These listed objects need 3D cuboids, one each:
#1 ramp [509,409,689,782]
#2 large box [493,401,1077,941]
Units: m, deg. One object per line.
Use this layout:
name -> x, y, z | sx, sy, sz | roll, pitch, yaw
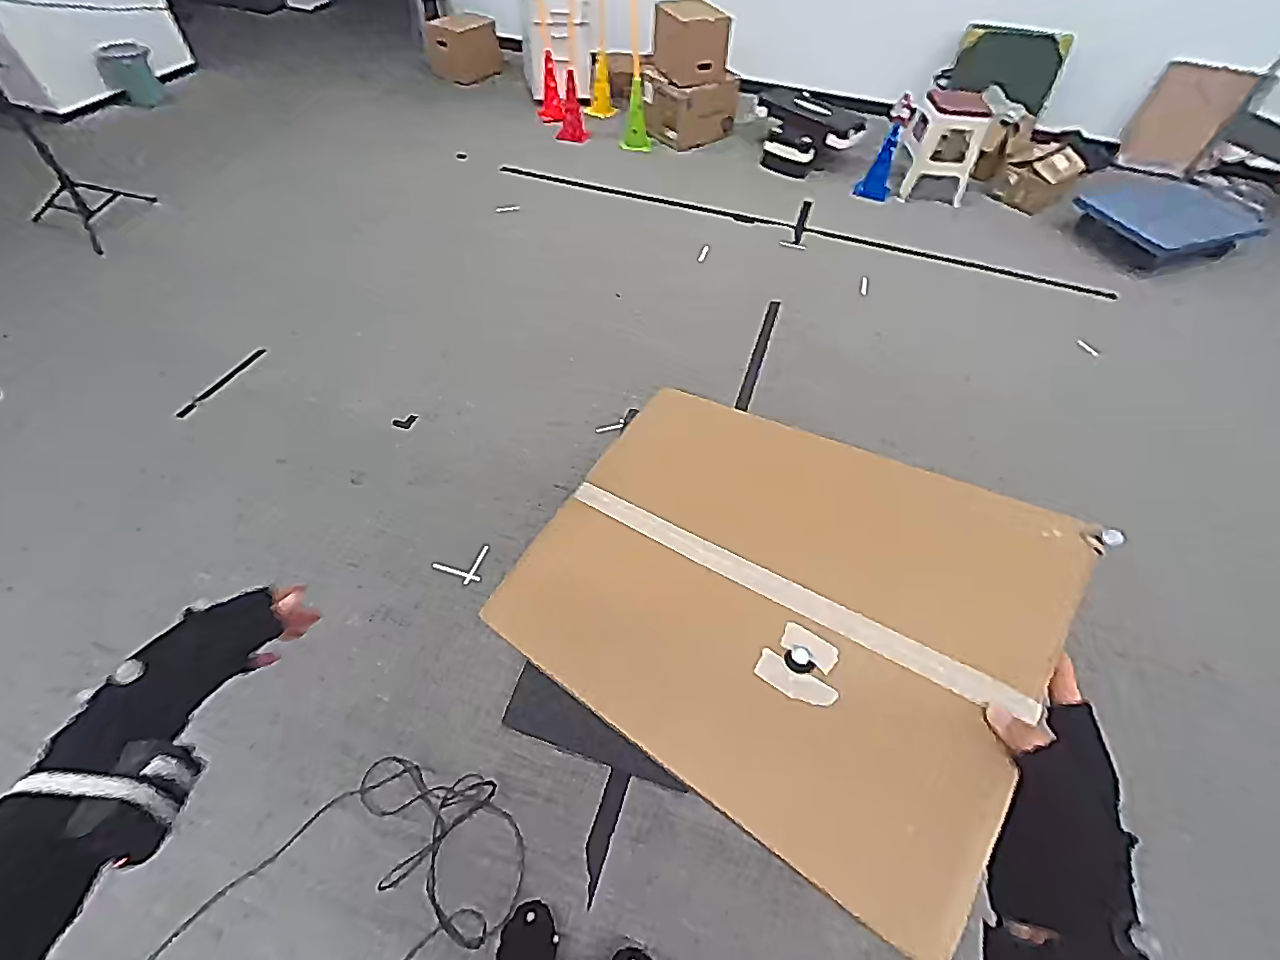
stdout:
ramp -> 0.046, 0.252, 1.555 | 0.509, 0.206, 0.991 | 16, 54, 6
large box -> 0.135, 0.172, 0.579 | 0.408, 0.320, 0.320 | 24, 66, 31
